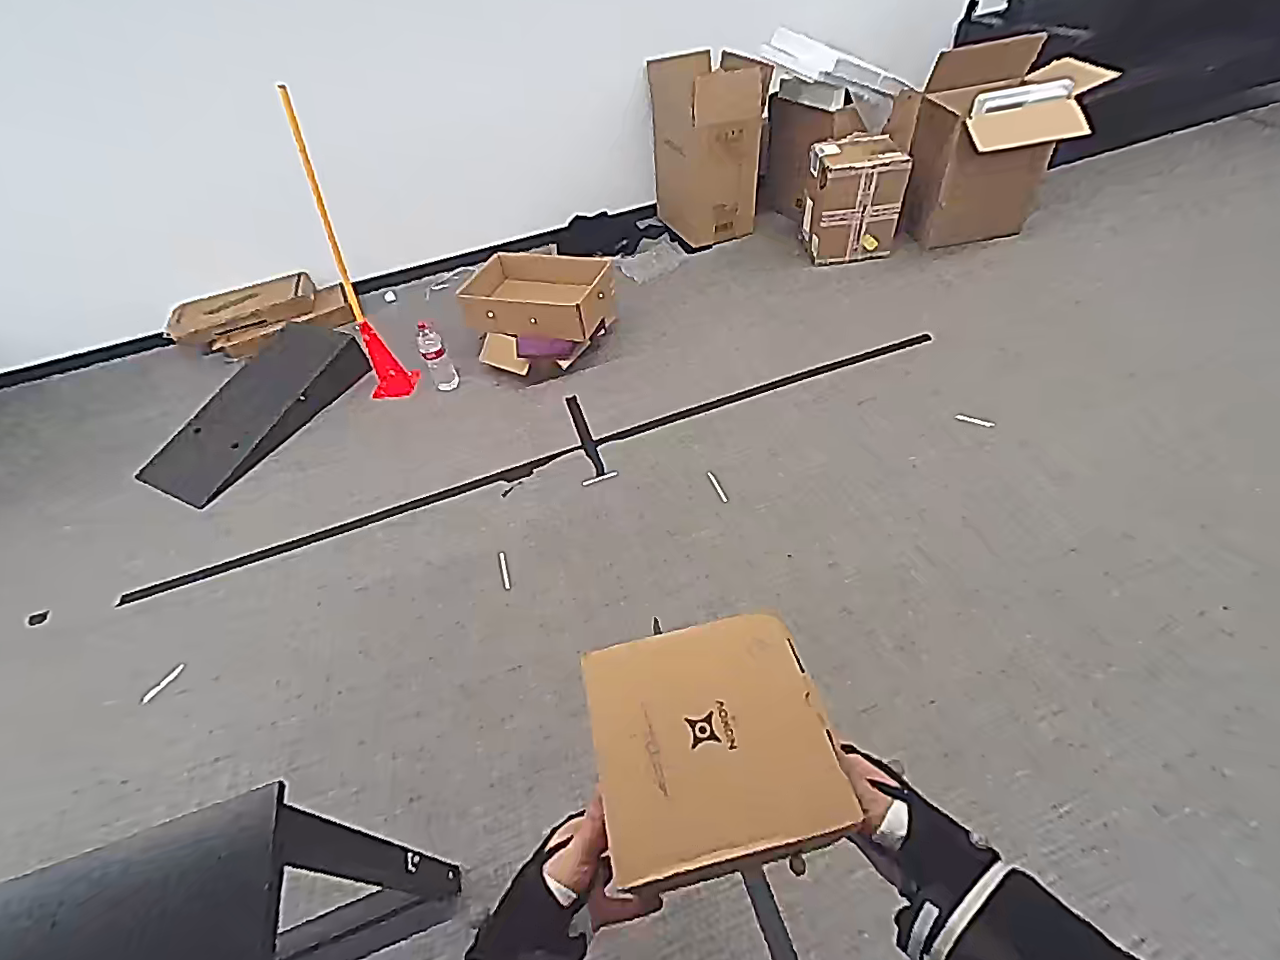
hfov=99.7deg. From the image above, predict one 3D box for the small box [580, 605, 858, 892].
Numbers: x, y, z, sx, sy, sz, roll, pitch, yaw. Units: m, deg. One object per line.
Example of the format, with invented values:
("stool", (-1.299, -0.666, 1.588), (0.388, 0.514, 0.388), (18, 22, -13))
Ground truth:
("small box", (0.057, 0.237, 0.473), (0.179, 0.176, 0.168), (-14, 50, -3))
